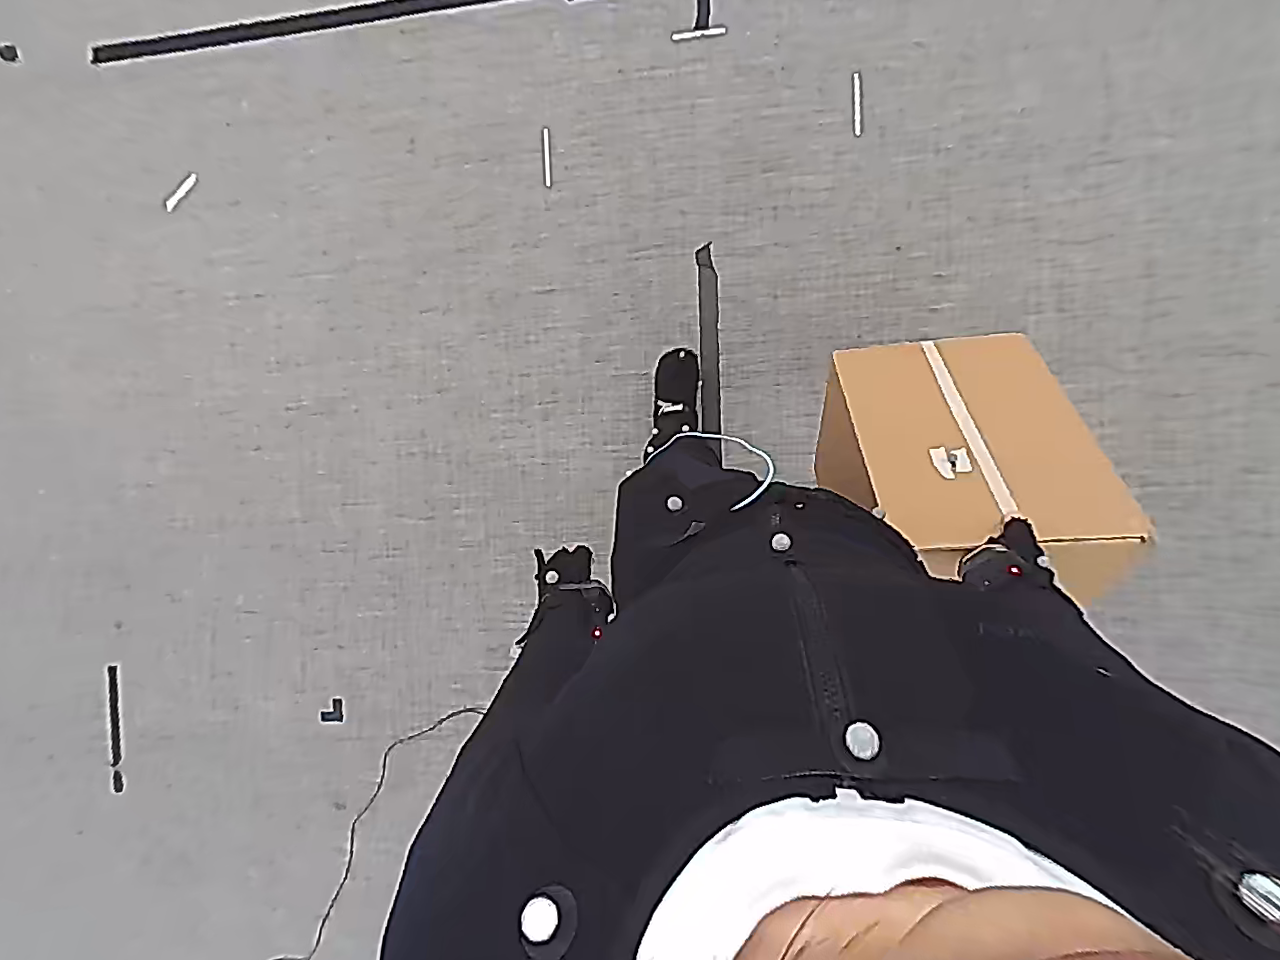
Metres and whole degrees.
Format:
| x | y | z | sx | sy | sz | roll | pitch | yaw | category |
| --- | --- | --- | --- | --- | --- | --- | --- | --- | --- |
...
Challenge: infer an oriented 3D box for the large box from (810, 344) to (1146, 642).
| x | y | z | sx | sy | sz | roll | pitch | yaw | category |
| --- | --- | --- | --- | --- | --- | --- | --- | --- | --- |
| 0.500 | 0.025 | 0.926 | 0.320 | 0.320 | 0.408 | -5 | 52 | 7 | large box |
